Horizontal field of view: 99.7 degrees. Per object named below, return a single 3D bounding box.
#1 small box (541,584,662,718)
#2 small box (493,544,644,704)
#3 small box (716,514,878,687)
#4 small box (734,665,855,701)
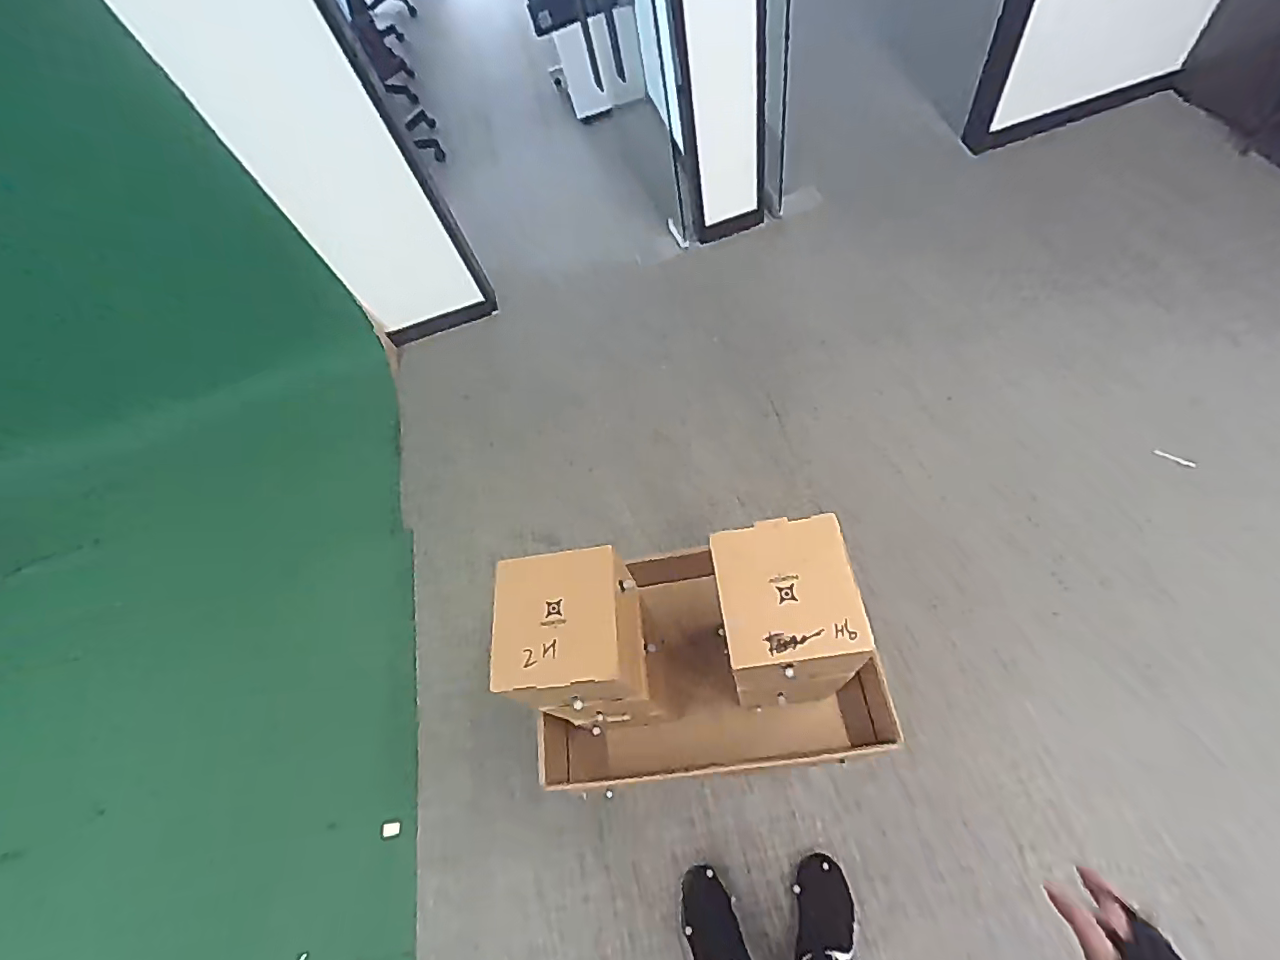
[{"bbox_3d":[-0.060,0.291,0.909,0.168,0.176,0.179,-9,60,7],"label":"small box"},{"bbox_3d":[-0.091,0.210,0.769,0.168,0.176,0.179,-8,60,8],"label":"small box"},{"bbox_3d":[0.198,0.168,0.728,0.168,0.176,0.179,-10,60,8],"label":"small box"},{"bbox_3d":[0.228,0.246,0.869,0.168,0.176,0.179,-9,61,8],"label":"small box"}]
